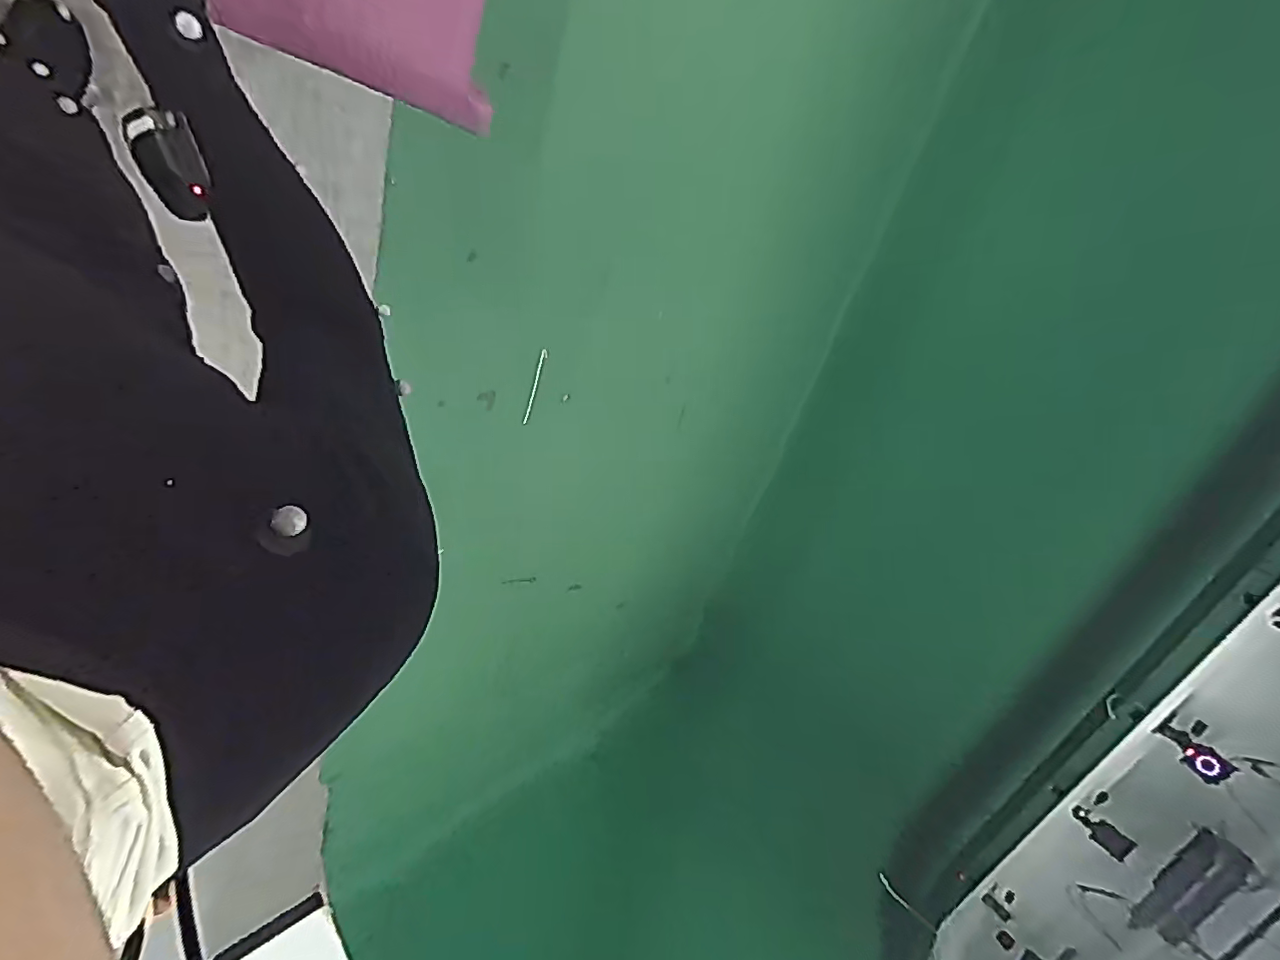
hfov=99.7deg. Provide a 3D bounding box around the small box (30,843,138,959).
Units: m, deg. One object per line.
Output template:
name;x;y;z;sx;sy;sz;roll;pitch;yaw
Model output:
small box;-1.339;1.033;1.305;0.168;0.176;0.179;-8;125;-50
